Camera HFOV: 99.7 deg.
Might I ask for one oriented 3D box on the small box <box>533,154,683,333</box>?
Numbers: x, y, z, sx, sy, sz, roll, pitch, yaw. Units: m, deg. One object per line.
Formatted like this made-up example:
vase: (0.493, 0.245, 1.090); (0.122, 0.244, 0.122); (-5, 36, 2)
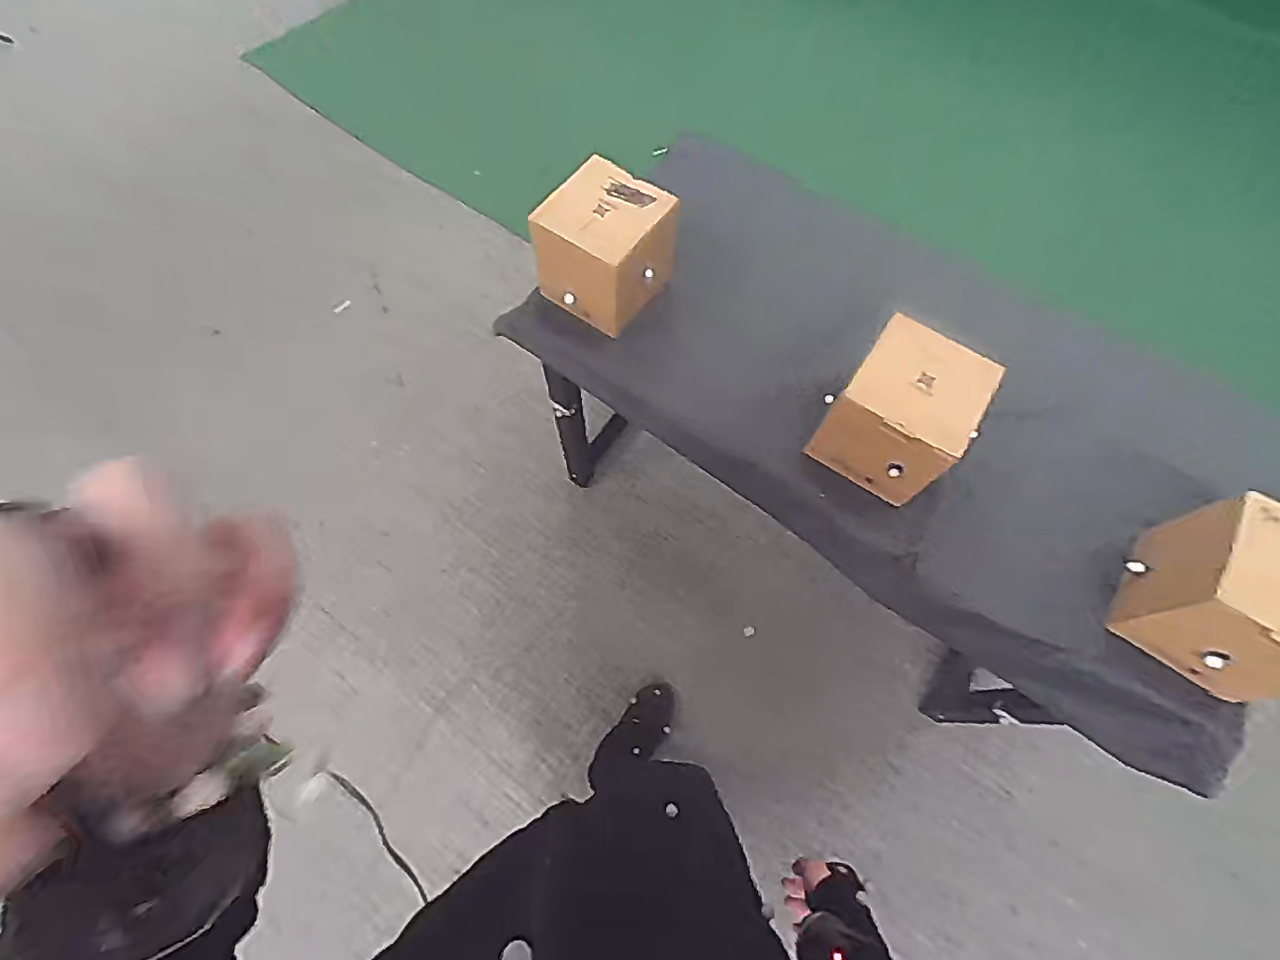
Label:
small box: (-0.052, -0.383, 0.890); (0.168, 0.176, 0.179); (33, 70, 12)

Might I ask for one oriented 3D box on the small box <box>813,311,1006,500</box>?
small box: (0.374, -0.099, 0.785); (0.168, 0.176, 0.179); (33, 68, 11)

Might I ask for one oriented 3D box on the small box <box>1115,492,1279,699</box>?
small box: (0.761, 0.153, 0.681); (0.168, 0.176, 0.179); (35, 70, 15)
